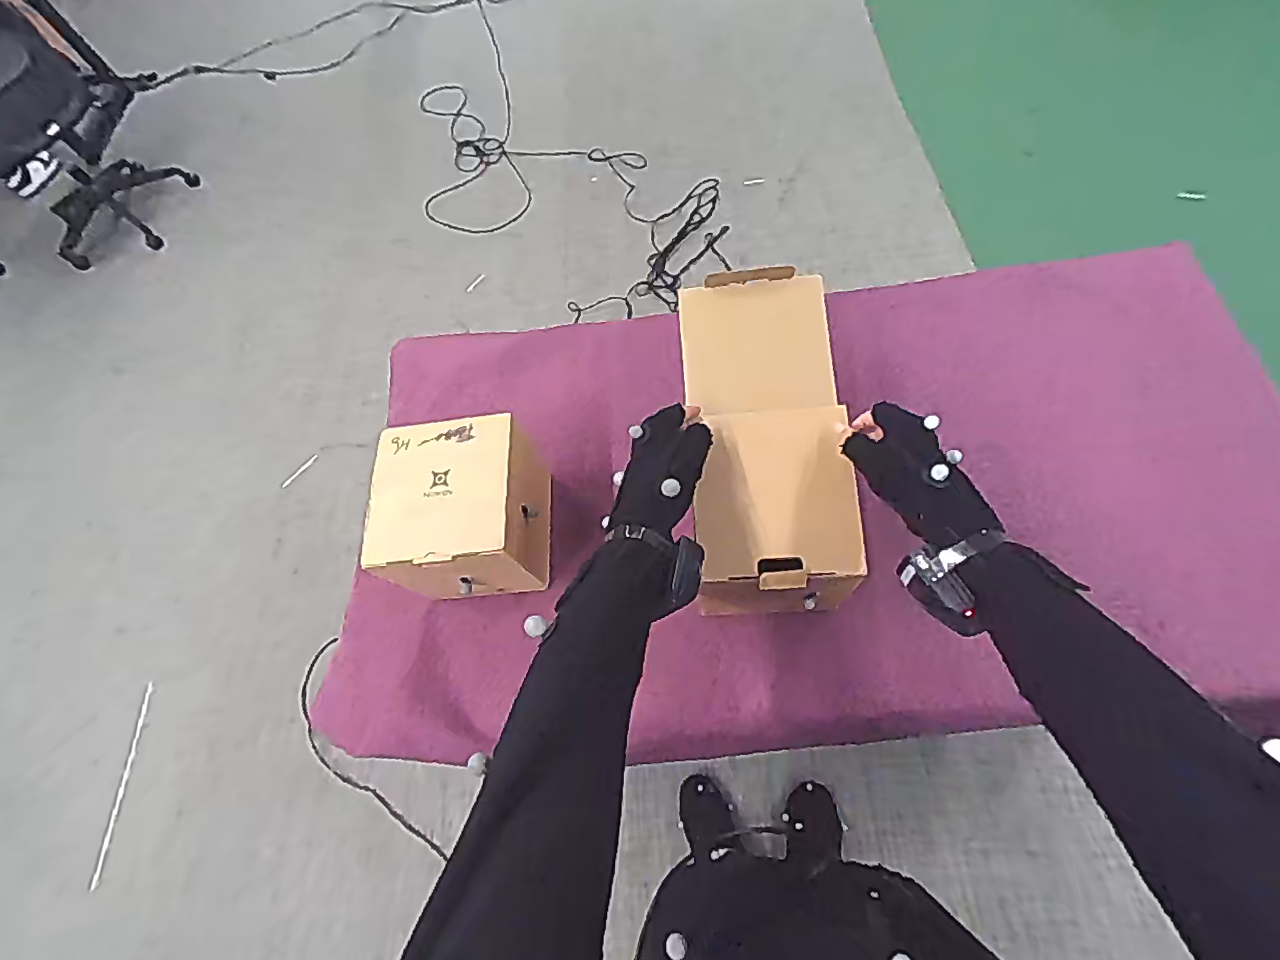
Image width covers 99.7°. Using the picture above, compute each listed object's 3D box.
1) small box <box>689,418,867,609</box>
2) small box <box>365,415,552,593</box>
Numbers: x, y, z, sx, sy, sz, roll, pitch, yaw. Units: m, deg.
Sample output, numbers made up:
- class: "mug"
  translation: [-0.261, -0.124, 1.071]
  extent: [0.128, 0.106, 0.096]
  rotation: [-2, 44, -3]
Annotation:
- class: "small box"
  translation: [0.147, 0.050, 0.626]
  extent: [0.168, 0.176, 0.179]
  rotation: [-4, 65, 7]
- class: "small box"
  translation: [-0.213, 0.041, 0.686]
  extent: [0.168, 0.176, 0.179]
  rotation: [-6, 65, 6]
